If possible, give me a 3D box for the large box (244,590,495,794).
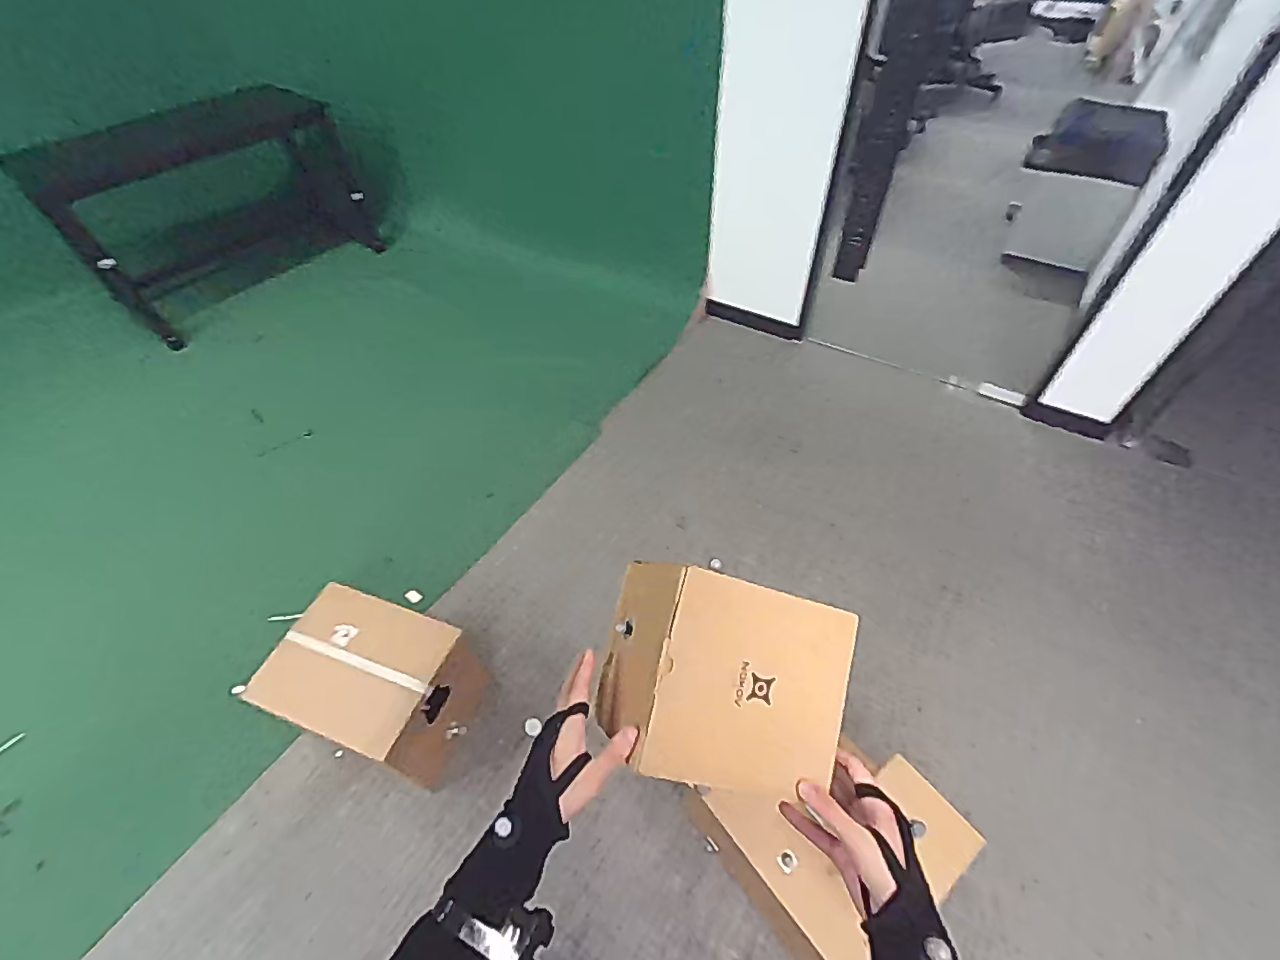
[{"bbox_3d":[-0.643,0.531,1.361,0.408,0.320,0.320,14,51,16],"label":"large box"}]

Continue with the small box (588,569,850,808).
[{"bbox_3d":[0.065,0.184,0.520,0.179,0.176,0.168,17,76,-14],"label":"small box"}]

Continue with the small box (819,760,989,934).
[{"bbox_3d":[0.432,0.620,0.914,0.179,0.176,0.168,-30,54,-23],"label":"small box"}]
